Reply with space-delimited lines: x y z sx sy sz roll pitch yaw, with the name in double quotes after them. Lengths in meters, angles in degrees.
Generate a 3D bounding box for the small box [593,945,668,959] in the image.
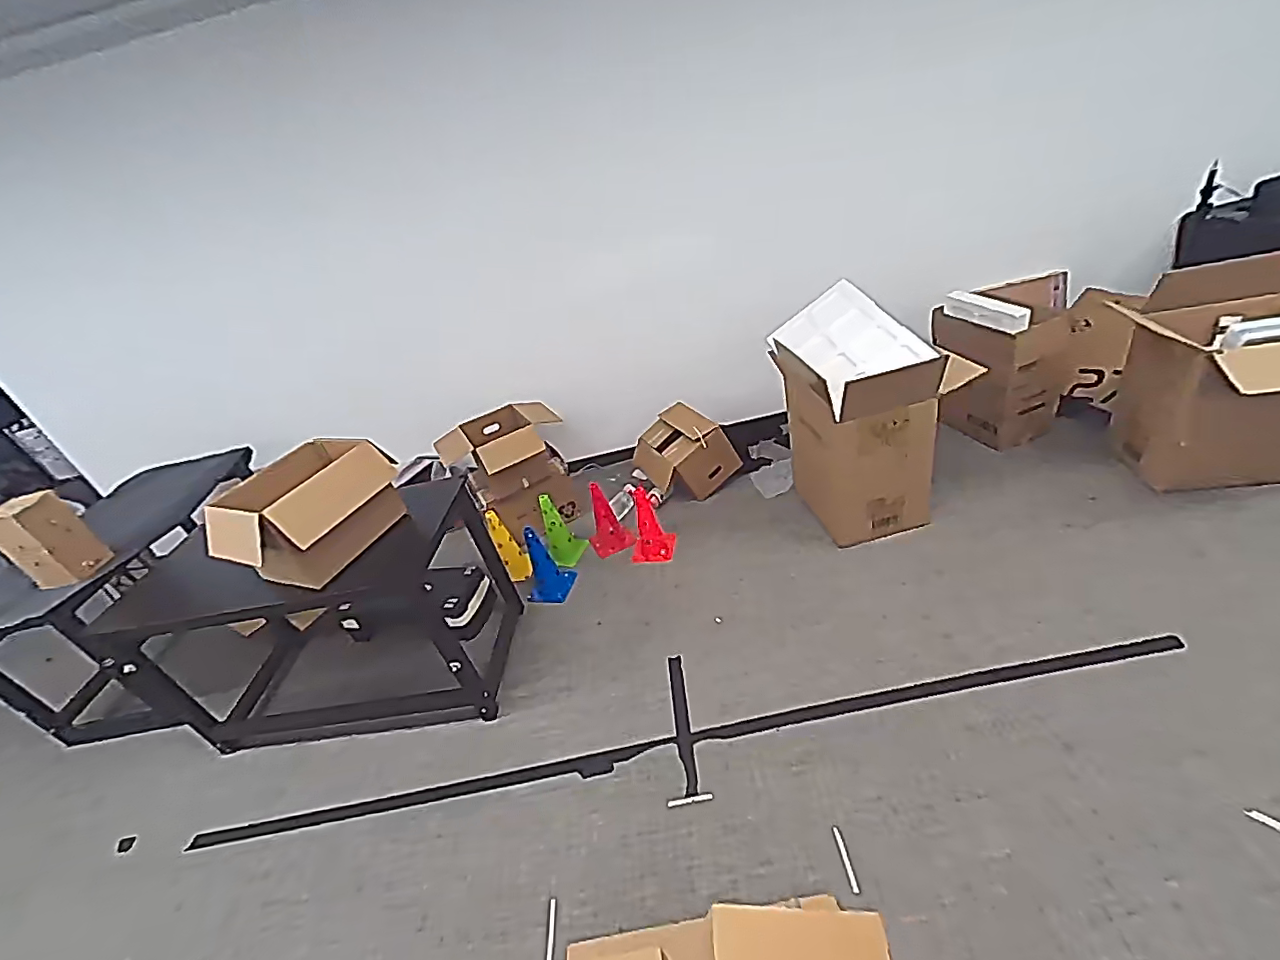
-0.005 1.173 1.185 0.168 0.176 0.179 -14 32 3 "small box"

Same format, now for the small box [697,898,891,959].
0.150 0.543 0.533 0.179 0.176 0.168 4 37 -1 "small box"
